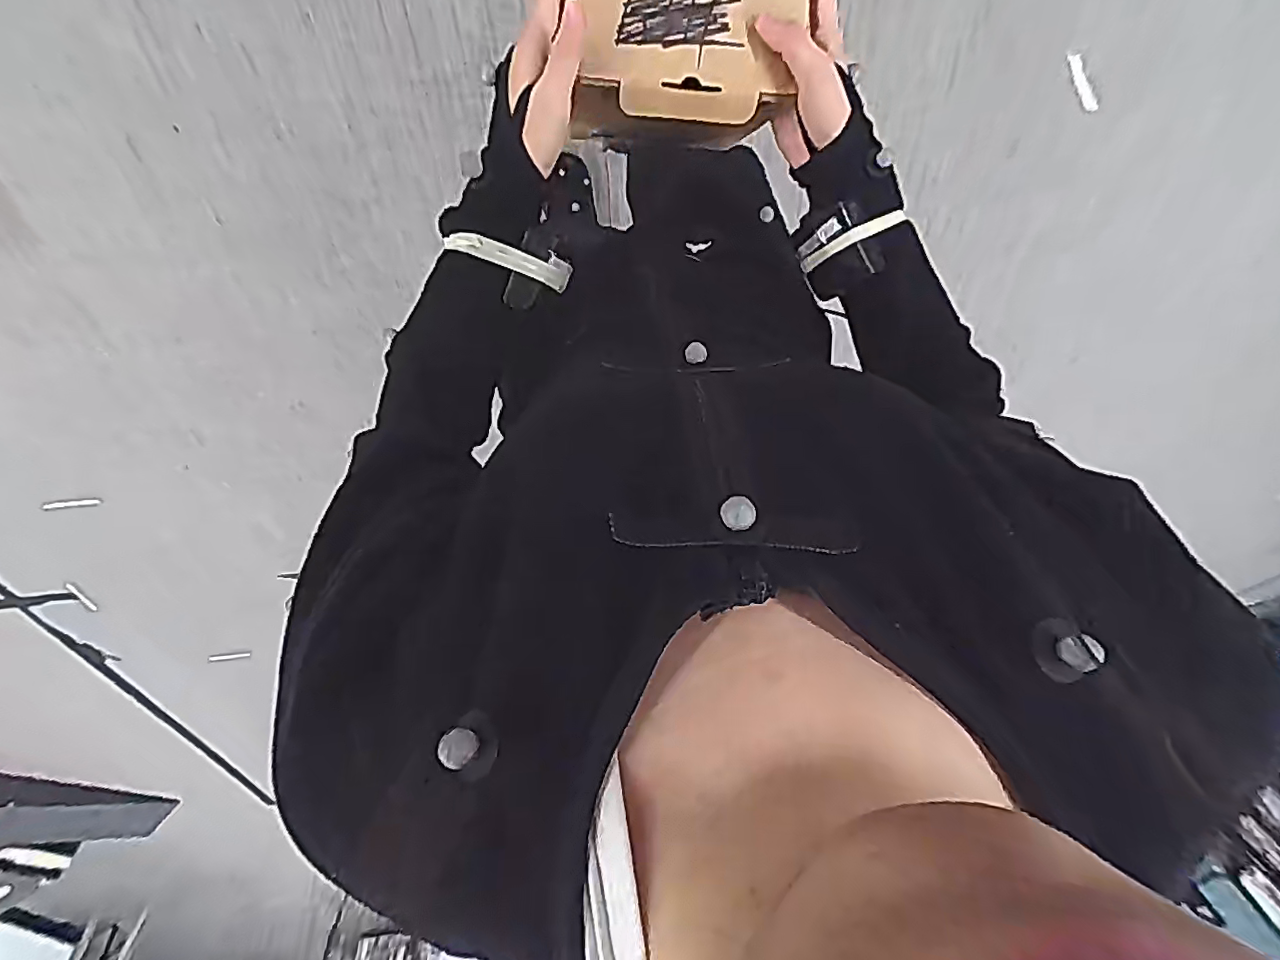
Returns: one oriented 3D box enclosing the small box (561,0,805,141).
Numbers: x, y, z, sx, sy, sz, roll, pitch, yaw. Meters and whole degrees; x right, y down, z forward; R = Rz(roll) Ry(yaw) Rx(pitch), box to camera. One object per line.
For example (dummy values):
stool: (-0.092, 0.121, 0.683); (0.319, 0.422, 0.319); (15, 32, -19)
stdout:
small box: (0.024, -0.390, 0.431); (0.168, 0.176, 0.179); (-2, 109, -10)
